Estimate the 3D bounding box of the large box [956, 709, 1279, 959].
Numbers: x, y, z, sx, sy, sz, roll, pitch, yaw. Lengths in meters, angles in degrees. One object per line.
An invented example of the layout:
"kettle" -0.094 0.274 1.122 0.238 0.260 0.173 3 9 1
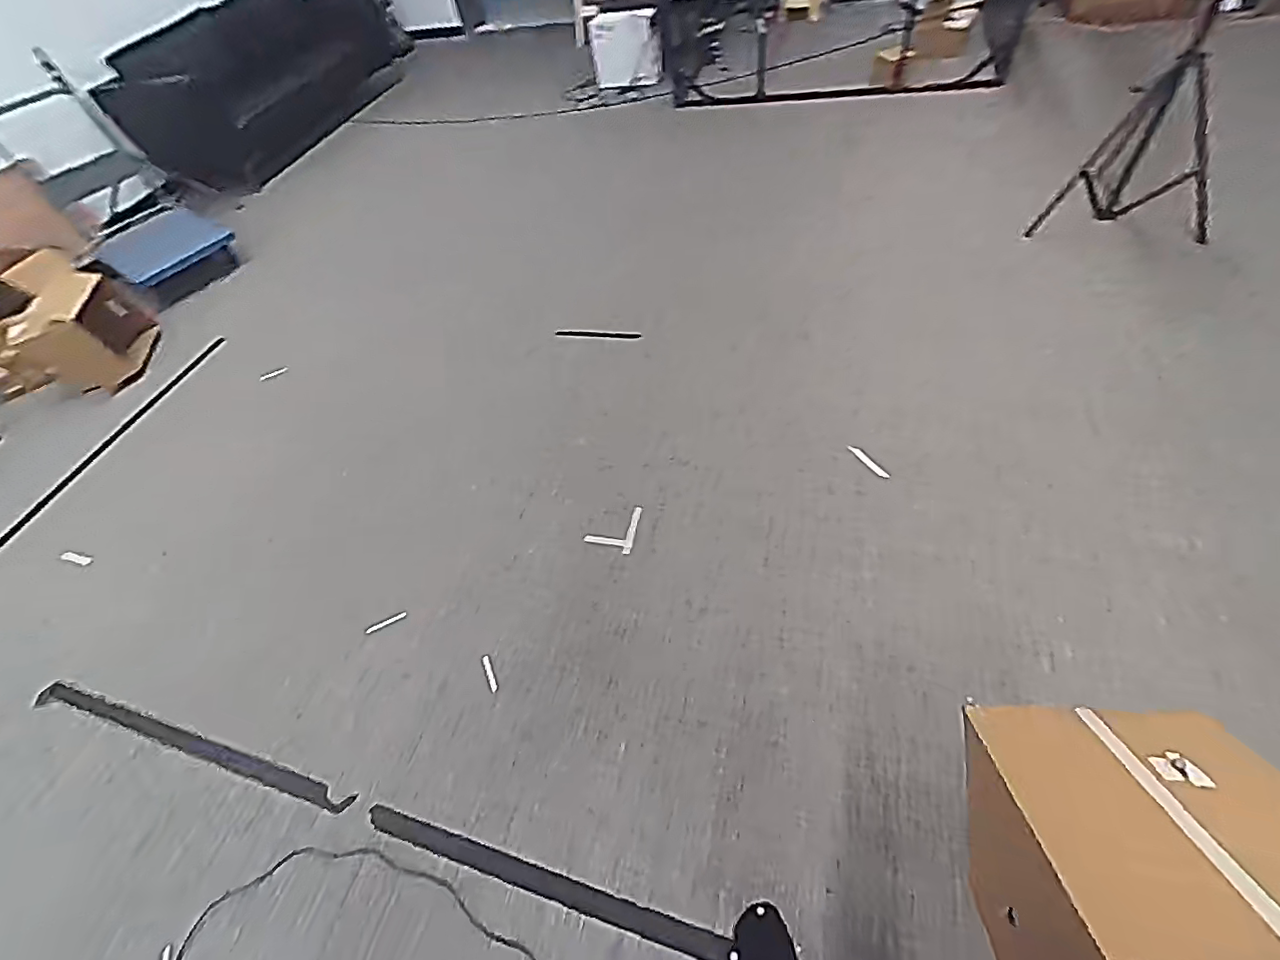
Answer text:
"large box" 0.622 0.534 0.651 0.320 0.320 0.408 -3 8 14
